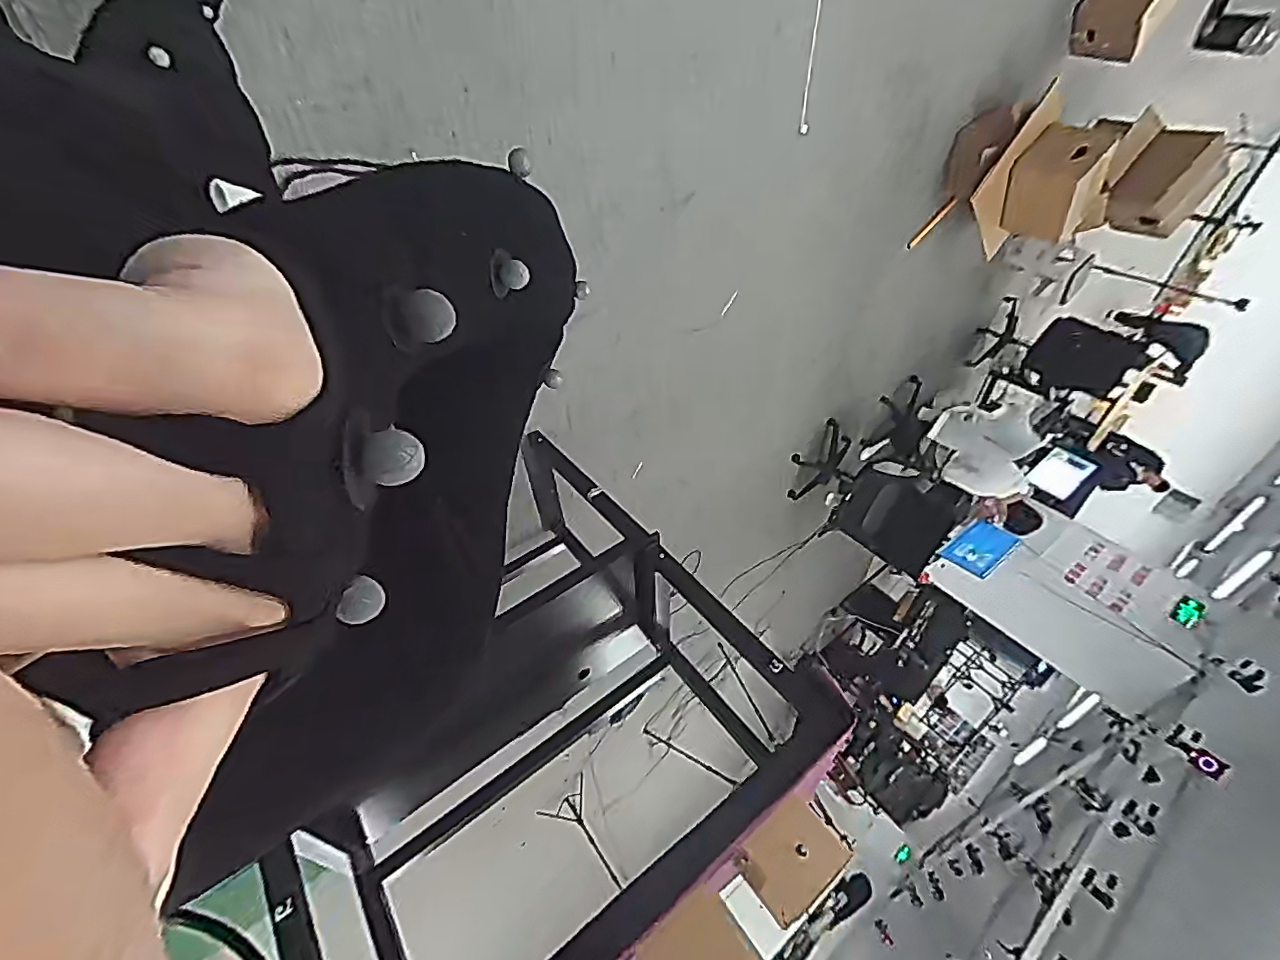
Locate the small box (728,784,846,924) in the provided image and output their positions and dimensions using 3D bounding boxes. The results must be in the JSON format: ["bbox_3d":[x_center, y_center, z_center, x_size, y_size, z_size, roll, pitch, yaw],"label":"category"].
[{"bbox_3d":[0.315,0.822,1.195,0.179,0.176,0.168,-29,141,-26],"label":"small box"}]
